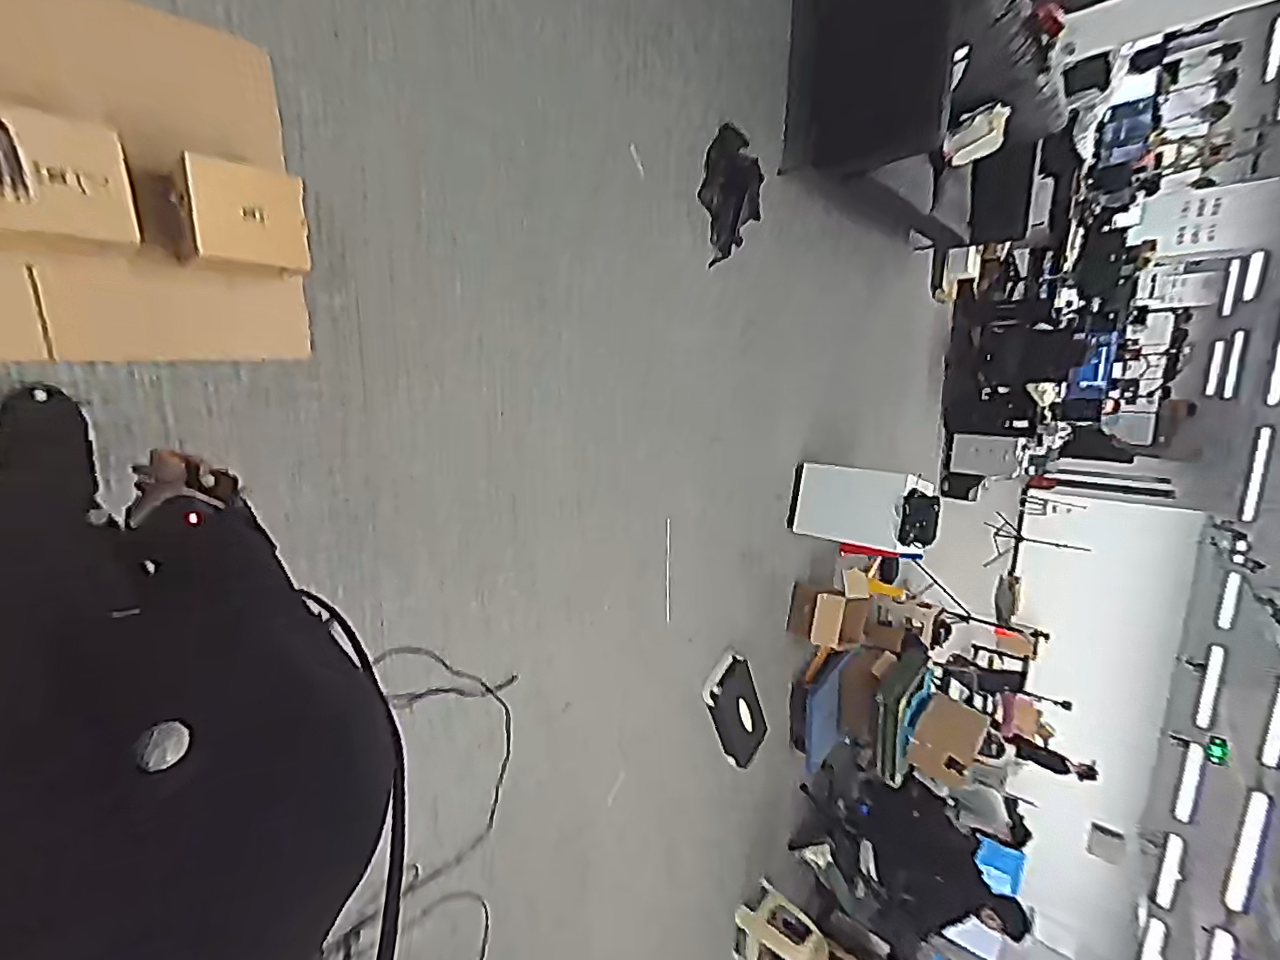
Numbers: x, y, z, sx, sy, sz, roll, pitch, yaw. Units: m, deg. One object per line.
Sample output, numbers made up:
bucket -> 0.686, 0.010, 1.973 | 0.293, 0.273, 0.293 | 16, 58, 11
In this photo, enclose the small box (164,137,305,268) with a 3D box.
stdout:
small box -> -0.752, -0.497, 1.001 | 0.179, 0.176, 0.168 | -12, 107, -48
